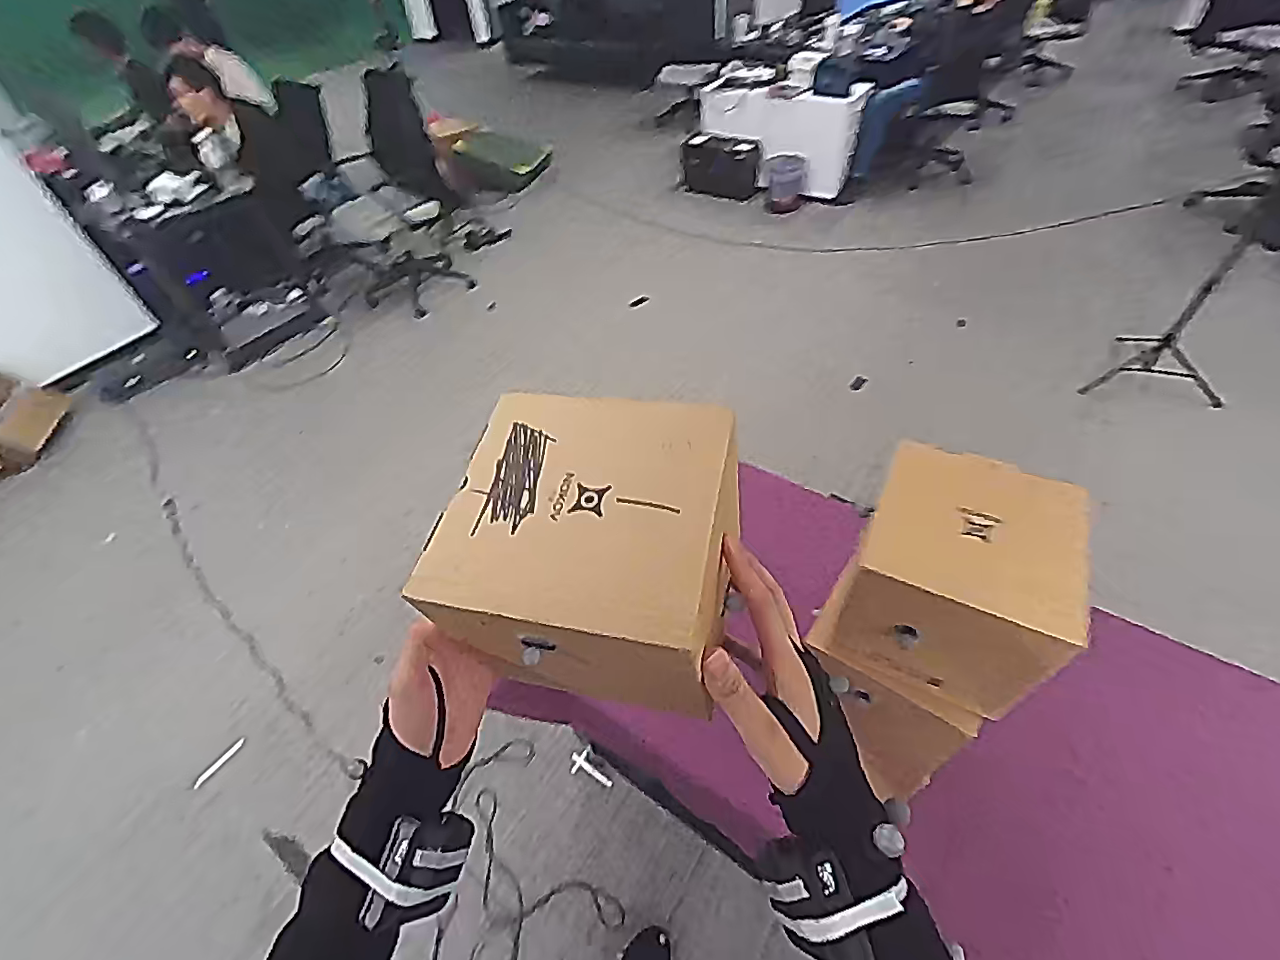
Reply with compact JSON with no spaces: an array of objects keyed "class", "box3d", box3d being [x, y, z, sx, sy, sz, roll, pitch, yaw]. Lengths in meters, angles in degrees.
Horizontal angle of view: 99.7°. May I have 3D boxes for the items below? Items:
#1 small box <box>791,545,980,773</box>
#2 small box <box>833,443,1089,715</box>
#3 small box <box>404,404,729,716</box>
[{"class":"small box","box3d":[0.301,0.215,0.650,0.179,0.176,0.168,28,56,26]},{"class":"small box","box3d":[0.304,0.098,0.536,0.168,0.176,0.179,20,52,22]},{"class":"small box","box3d":[-0.031,0.063,0.409,0.179,0.176,0.168,6,56,14]}]
